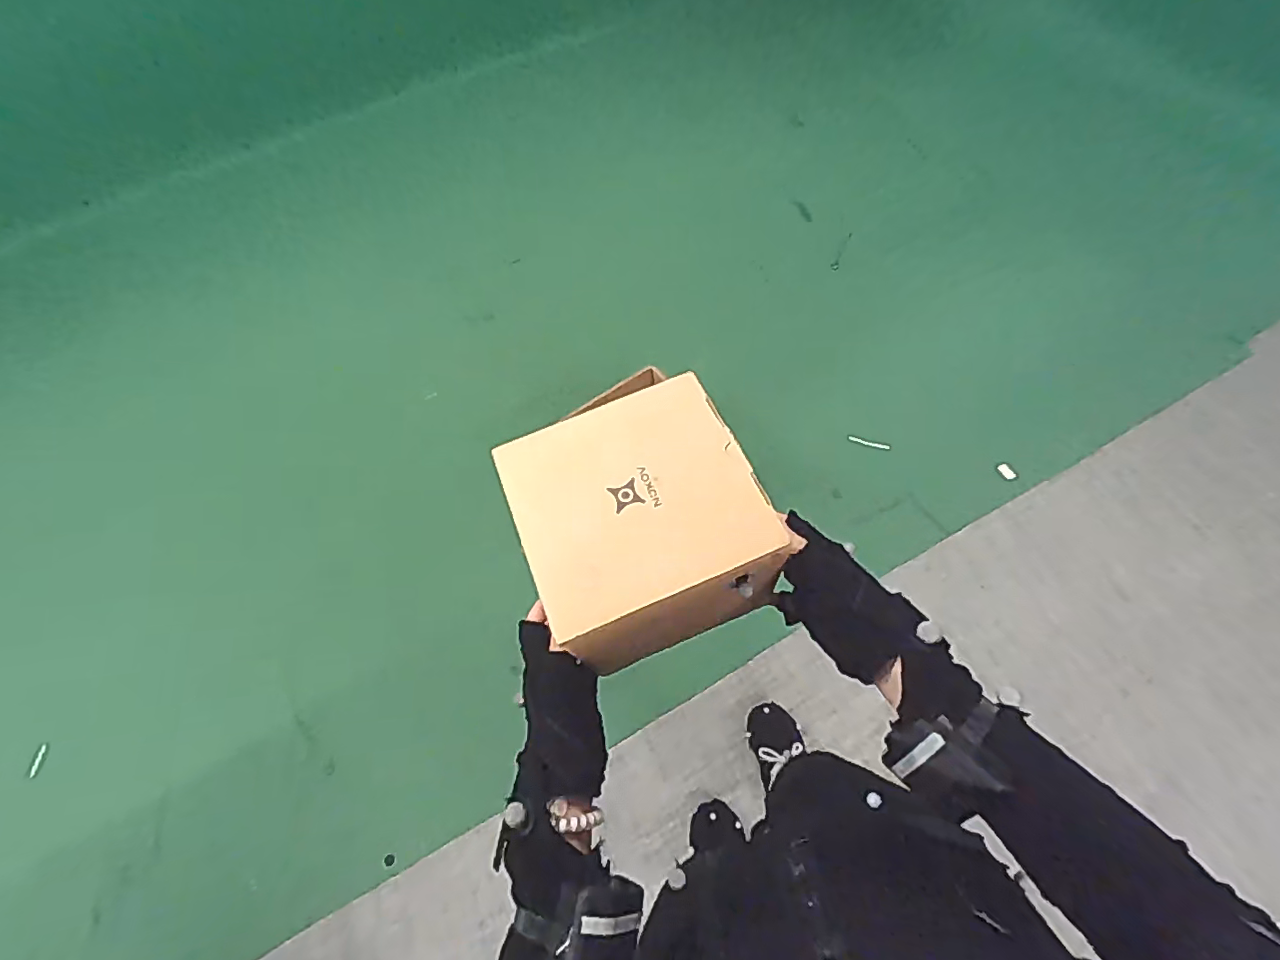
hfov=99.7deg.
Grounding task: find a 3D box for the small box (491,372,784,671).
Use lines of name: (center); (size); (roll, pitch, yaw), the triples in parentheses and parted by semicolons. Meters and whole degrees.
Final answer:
small box: (0.000, 0.046, 0.464); (0.179, 0.176, 0.168); (-23, 63, -6)
